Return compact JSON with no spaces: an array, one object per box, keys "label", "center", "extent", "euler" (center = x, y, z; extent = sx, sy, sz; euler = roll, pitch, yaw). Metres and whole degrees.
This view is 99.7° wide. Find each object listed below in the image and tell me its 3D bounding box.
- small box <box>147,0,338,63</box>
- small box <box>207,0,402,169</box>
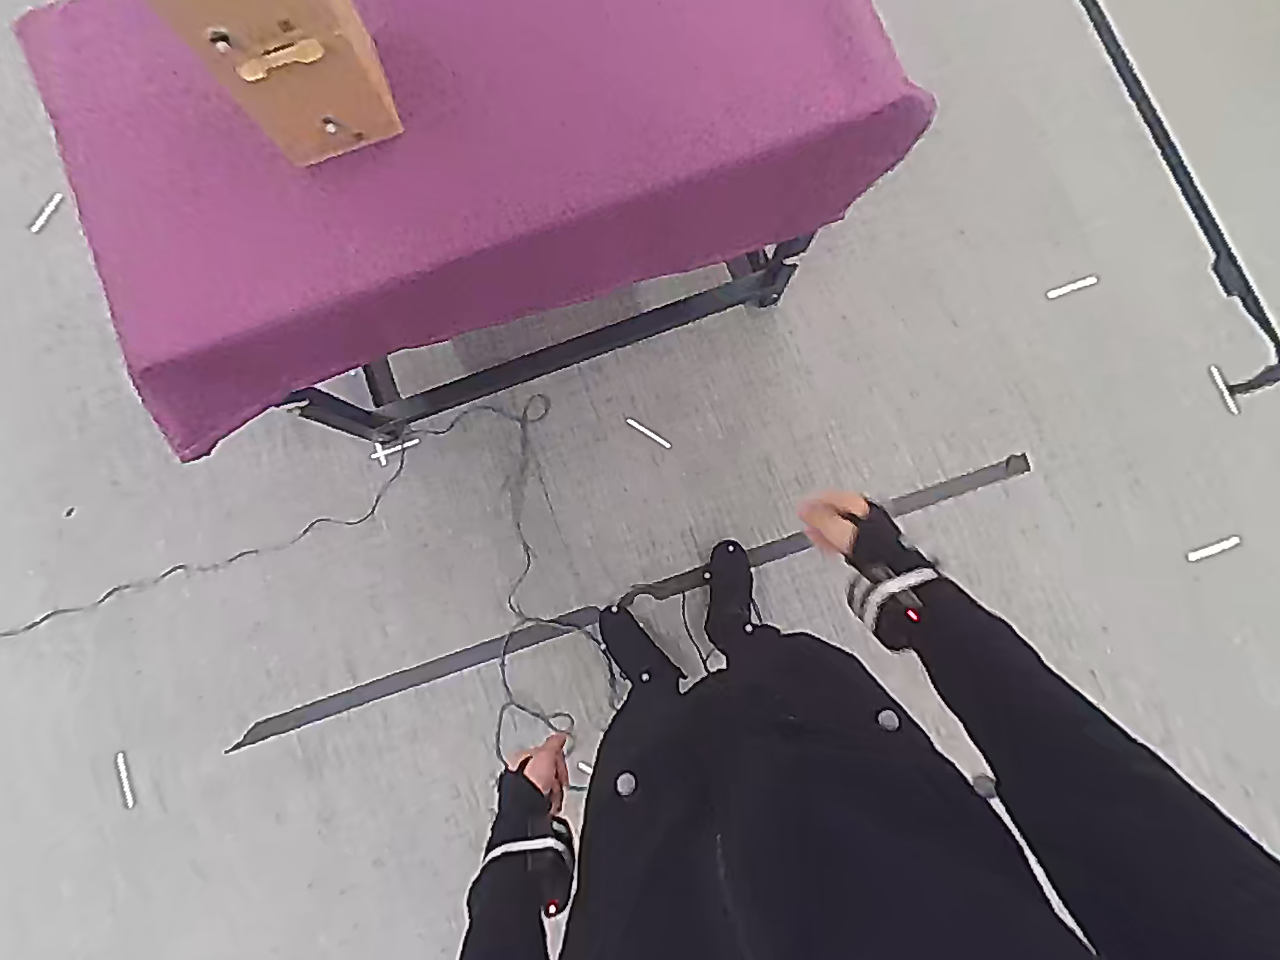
[{"label":"small box","center":[-0.457,-0.589,0.567],"extent":[0.168,0.176,0.179],"euler":[-24,83,-3]},{"label":"small box","center":[-0.454,-0.570,0.730],"extent":[0.168,0.176,0.179],"euler":[-20,84,-1]}]
